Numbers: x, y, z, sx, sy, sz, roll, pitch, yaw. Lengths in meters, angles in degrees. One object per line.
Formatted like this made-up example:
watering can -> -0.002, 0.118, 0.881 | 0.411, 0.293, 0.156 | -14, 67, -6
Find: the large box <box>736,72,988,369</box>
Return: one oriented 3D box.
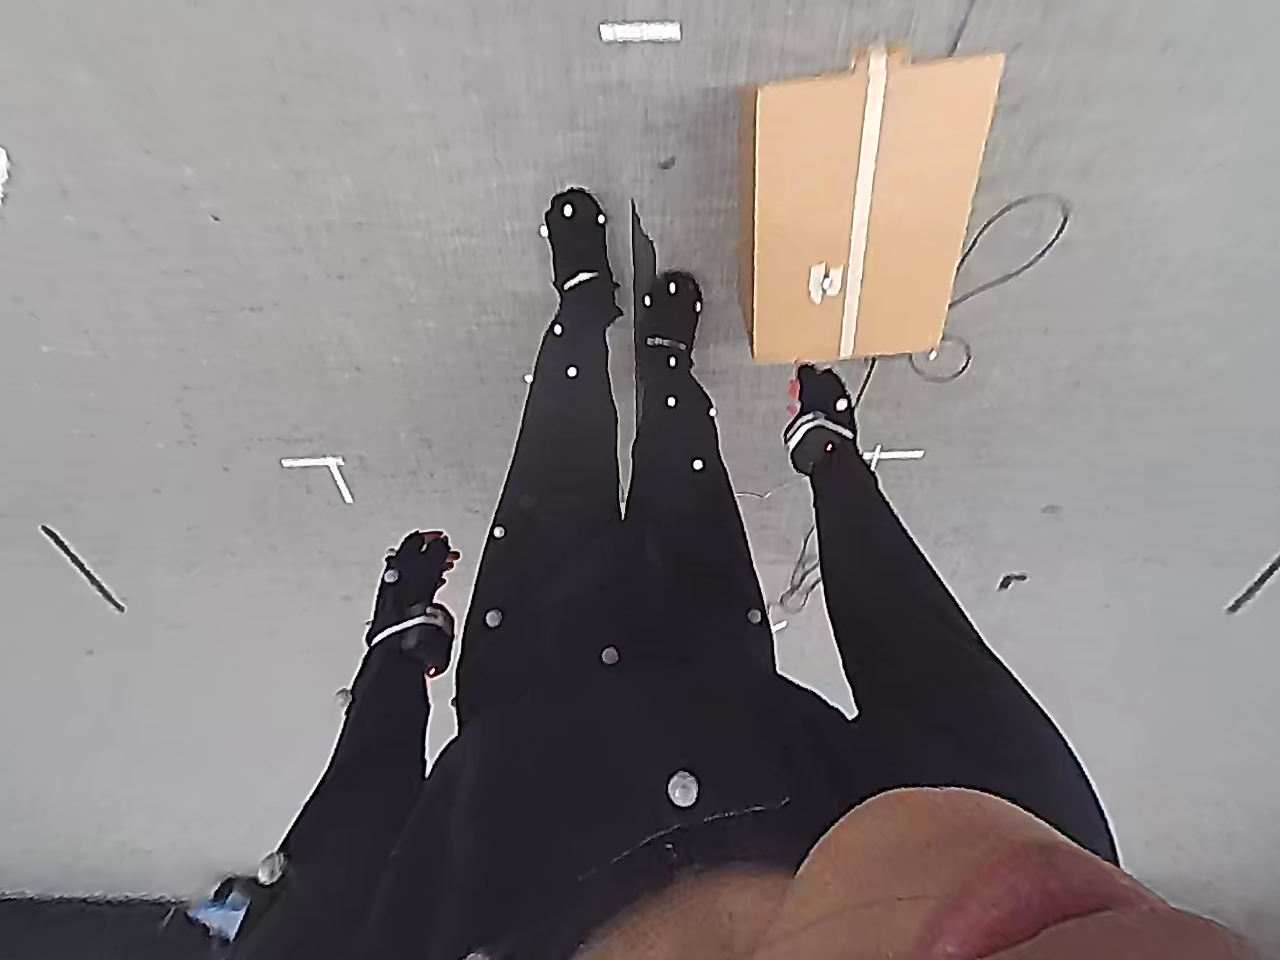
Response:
large box -> 0.346, -0.459, 0.968 | 0.320, 0.320, 0.408 | -3, 127, 7
